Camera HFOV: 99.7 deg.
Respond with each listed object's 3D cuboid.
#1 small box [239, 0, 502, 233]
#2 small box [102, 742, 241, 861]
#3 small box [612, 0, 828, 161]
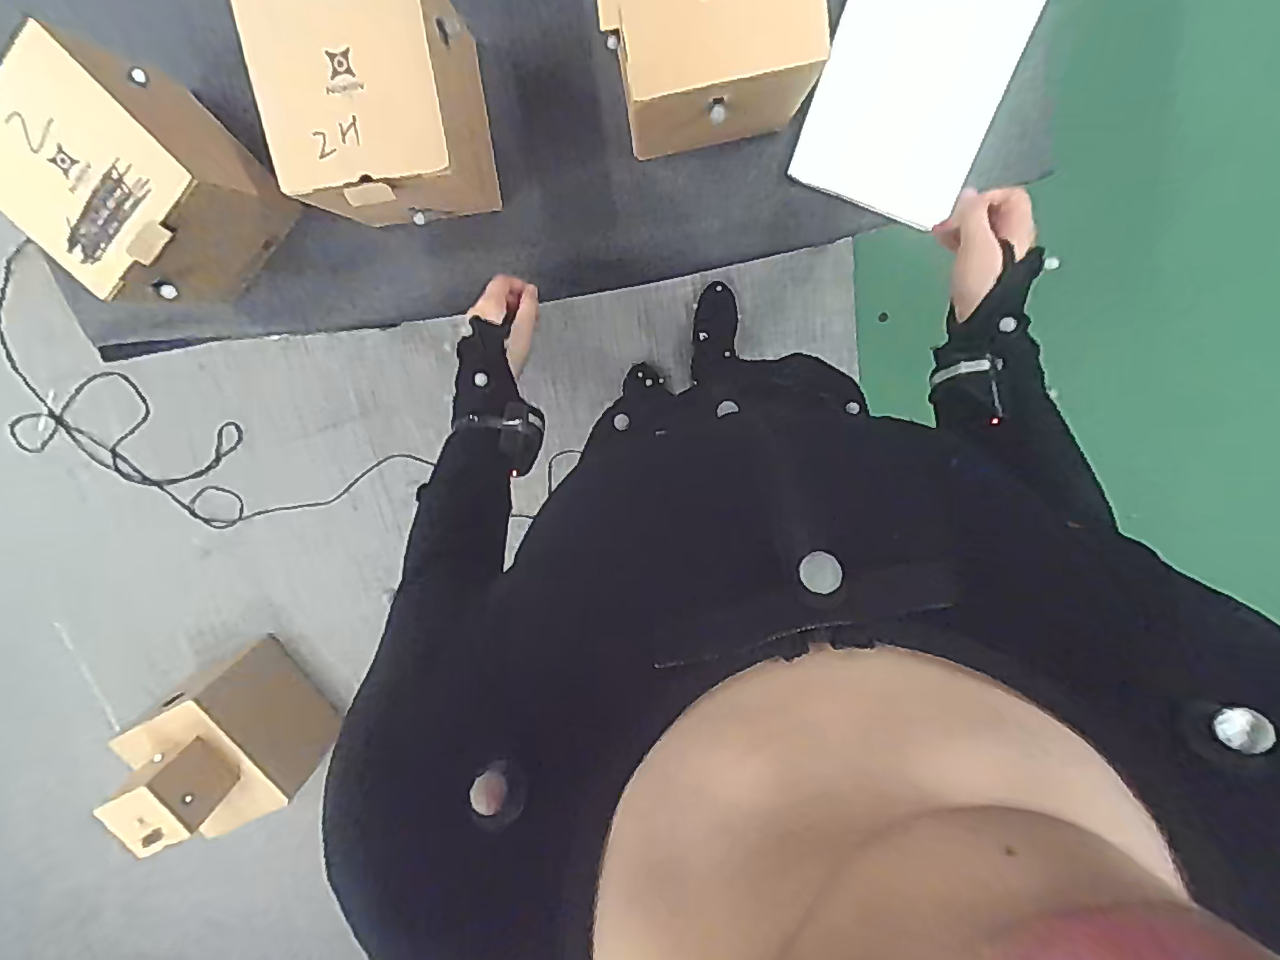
[{"bbox_3d":[-0.257,-0.374,0.561,0.168,0.176,0.179,-6,105,5],"label":"small box"},{"bbox_3d":[-1.192,0.822,1.393,0.168,0.176,0.179,-27,103,8],"label":"small box"},{"bbox_3d":[0.067,-0.439,0.528,0.179,0.176,0.168,-10,105,6],"label":"small box"}]
